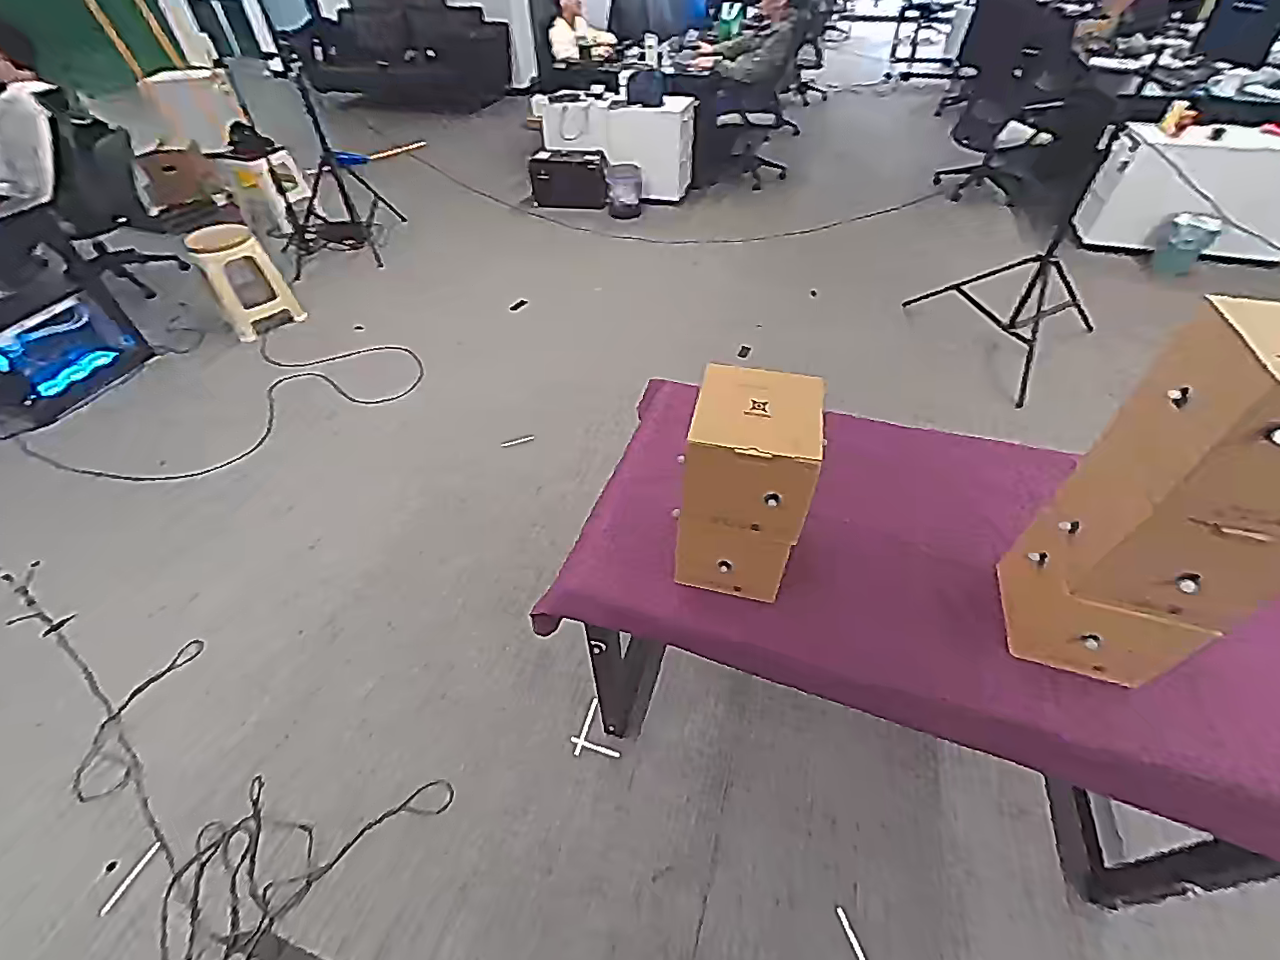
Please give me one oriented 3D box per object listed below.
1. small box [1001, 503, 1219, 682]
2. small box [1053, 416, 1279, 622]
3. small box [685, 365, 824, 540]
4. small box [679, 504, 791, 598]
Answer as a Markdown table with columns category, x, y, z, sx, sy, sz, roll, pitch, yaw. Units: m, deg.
| category | x | y | z | sx | sy | sz | roll | pitch | yaw |
| --- | --- | --- | --- | --- | --- | --- | --- | --- | --- |
| small box | 0.661 | 0.167 | 0.791 | 0.168 | 0.176 | 0.179 | 13 | 47 | 14 |
| small box | 0.660 | 0.050 | 0.676 | 0.168 | 0.176 | 0.179 | 13 | 48 | 14 |
| small box | 0.159 | -0.038 | 0.769 | 0.168 | 0.176 | 0.179 | 9 | 46 | 9 |
| small box | 0.161 | 0.069 | 0.891 | 0.168 | 0.176 | 0.179 | 10 | 47 | 10 |
